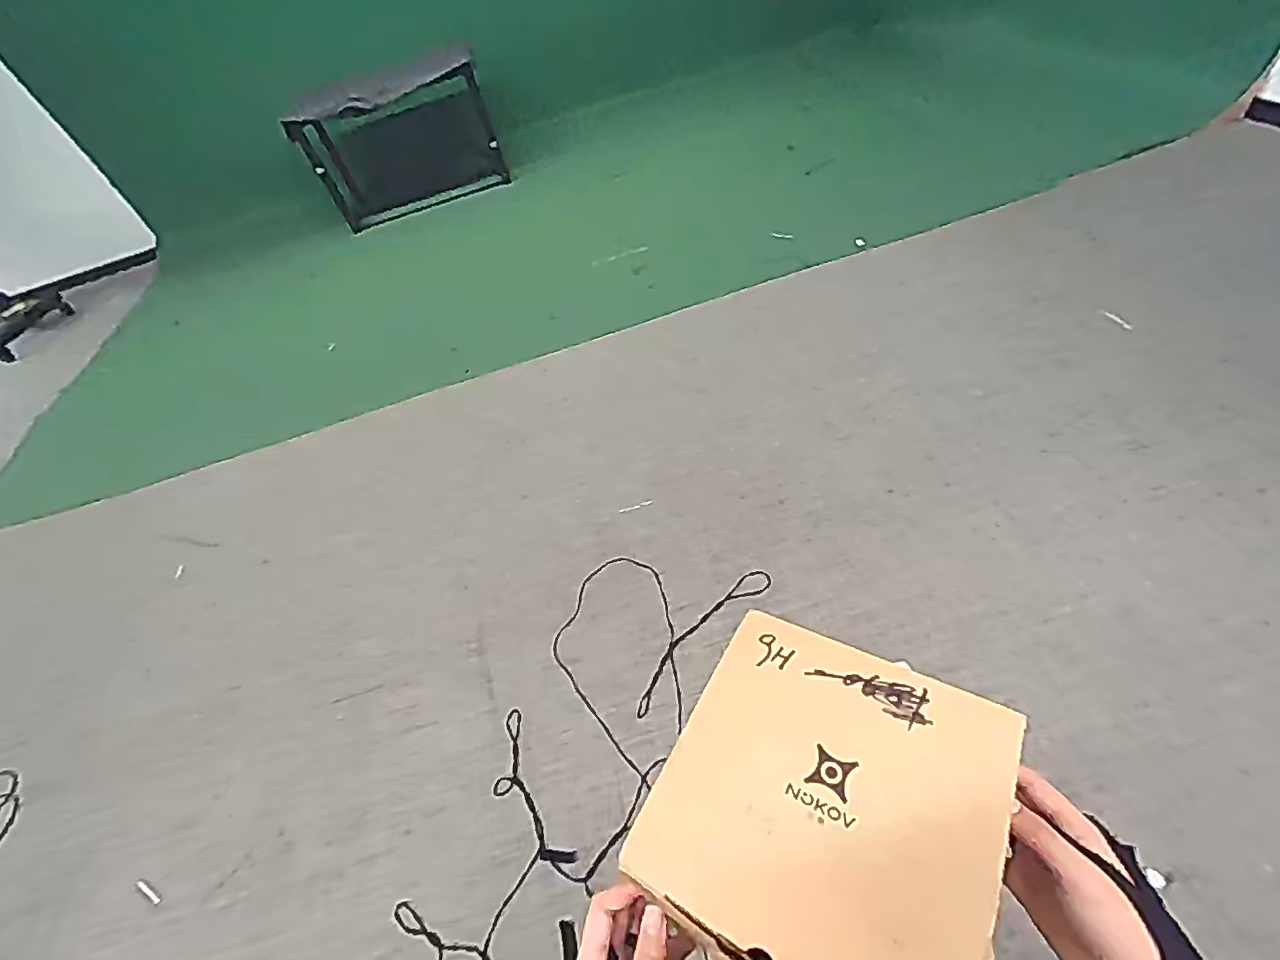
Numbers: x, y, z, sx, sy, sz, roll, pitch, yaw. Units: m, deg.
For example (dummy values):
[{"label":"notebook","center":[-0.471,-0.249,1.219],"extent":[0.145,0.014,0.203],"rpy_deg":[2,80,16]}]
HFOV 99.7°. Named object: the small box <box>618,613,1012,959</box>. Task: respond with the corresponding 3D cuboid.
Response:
[{"label":"small box","center":[0.115,0.227,0.353],"extent":[0.168,0.176,0.179],"rpy_deg":[17,51,30]}]
